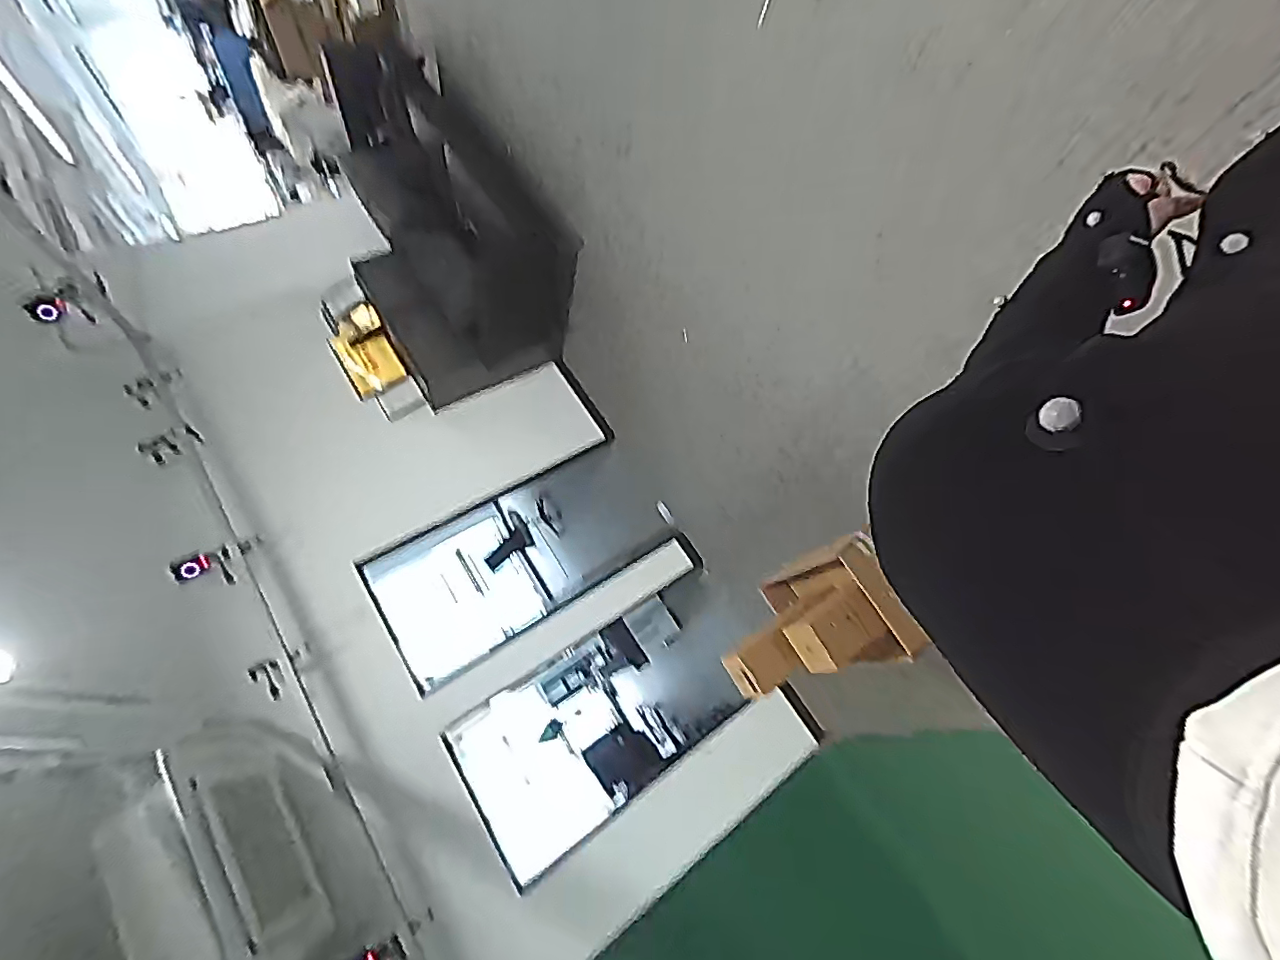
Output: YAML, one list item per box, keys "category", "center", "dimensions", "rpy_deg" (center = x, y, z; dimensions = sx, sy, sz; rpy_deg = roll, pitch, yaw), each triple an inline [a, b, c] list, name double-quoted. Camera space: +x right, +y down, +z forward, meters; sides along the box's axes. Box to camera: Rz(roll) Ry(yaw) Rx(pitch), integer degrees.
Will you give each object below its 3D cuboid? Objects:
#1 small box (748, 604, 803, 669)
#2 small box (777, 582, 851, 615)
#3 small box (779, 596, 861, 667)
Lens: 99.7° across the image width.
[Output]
- category: "small box"
  center: [0.548, 0.589, 2.032]
  dimensions: [0.168, 0.176, 0.179]
  rpy_deg: [57, 155, 12]
- category: "small box"
  center: [0.677, 0.519, 2.100]
  dimensions: [0.168, 0.176, 0.179]
  rpy_deg: [56, 155, 11]
- category: "small box"
  center: [0.606, 0.505, 1.805]
  dimensions: [0.168, 0.176, 0.179]
  rpy_deg: [58, 158, 10]
